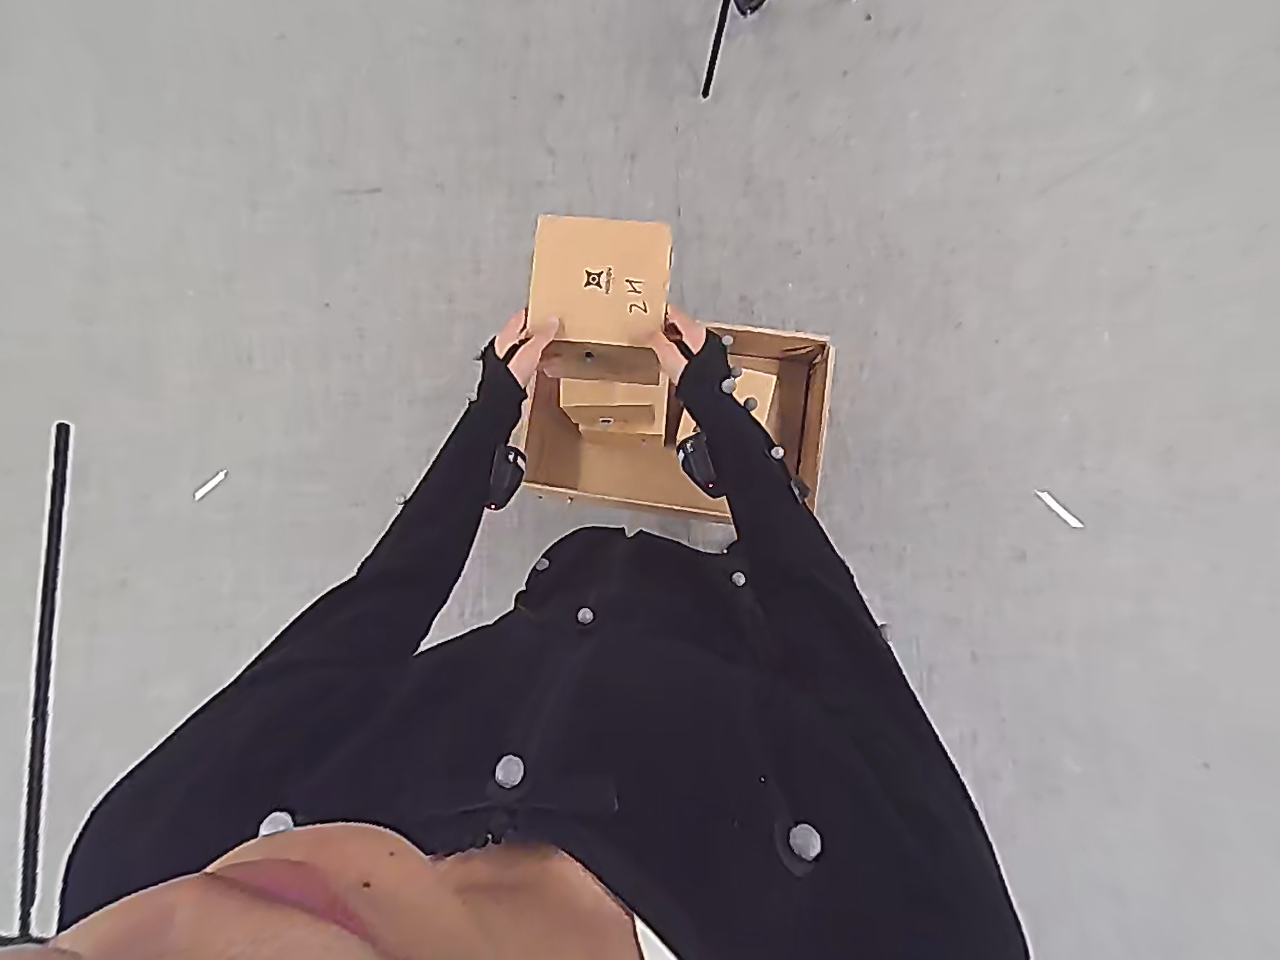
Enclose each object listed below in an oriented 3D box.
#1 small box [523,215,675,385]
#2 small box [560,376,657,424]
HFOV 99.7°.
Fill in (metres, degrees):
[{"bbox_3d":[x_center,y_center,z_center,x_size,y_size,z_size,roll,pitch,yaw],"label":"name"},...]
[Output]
[{"bbox_3d":[-0.050,-0.239,0.754,0.179,0.176,0.168,6,85,0],"label":"small box"},{"bbox_3d":[-0.053,-0.208,1.012,0.168,0.176,0.179,-1,85,3],"label":"small box"}]
